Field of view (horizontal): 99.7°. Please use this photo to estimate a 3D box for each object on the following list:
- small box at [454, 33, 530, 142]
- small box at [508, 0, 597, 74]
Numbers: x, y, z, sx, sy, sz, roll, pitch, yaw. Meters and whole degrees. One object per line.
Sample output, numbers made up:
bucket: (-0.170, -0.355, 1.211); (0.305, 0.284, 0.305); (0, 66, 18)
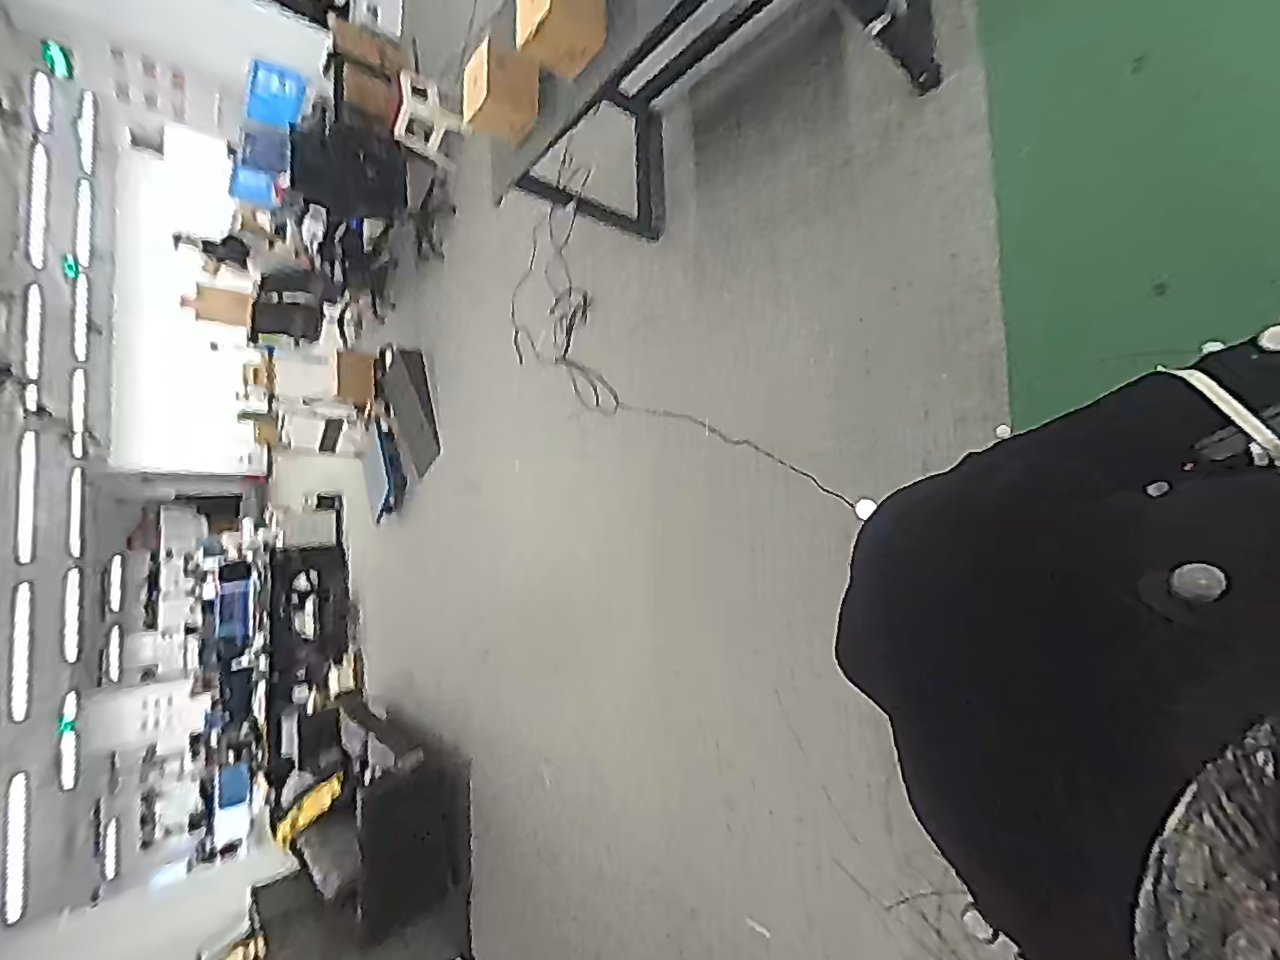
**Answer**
small box: (-0.442, -1.166, 1.624); (0.168, 0.176, 0.179); (-2, 88, 49)
small box: (-0.221, -1.200, 1.378); (0.168, 0.176, 0.179); (-3, 87, 48)
